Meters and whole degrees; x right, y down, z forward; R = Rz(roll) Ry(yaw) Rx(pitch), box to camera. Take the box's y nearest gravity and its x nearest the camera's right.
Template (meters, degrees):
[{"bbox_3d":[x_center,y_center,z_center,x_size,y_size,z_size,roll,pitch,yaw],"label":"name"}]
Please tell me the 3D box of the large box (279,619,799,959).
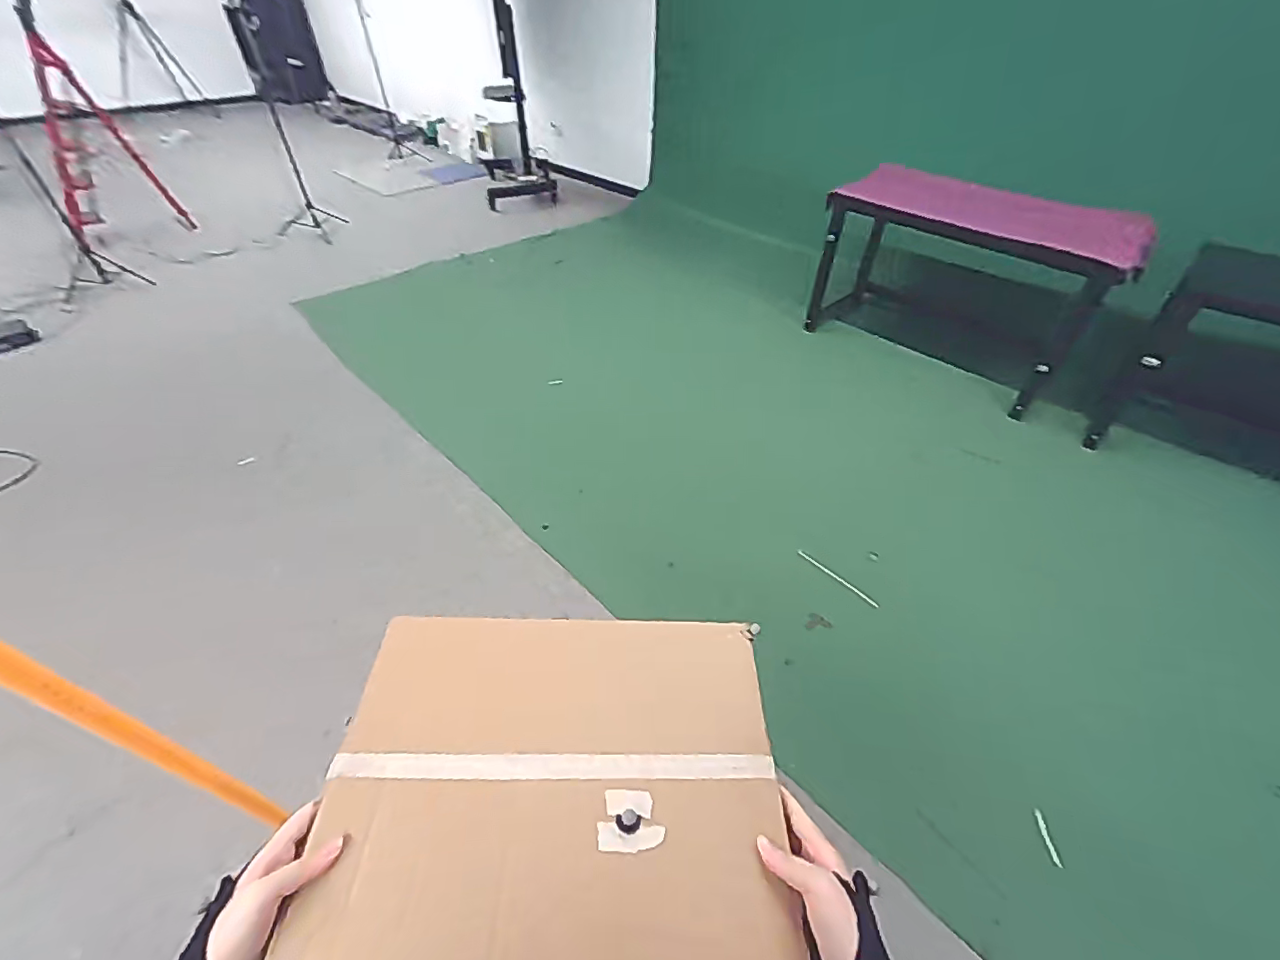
[{"bbox_3d":[-0.088,0.376,0.615,0.408,0.320,0.320,2,44,-4],"label":"large box"}]
